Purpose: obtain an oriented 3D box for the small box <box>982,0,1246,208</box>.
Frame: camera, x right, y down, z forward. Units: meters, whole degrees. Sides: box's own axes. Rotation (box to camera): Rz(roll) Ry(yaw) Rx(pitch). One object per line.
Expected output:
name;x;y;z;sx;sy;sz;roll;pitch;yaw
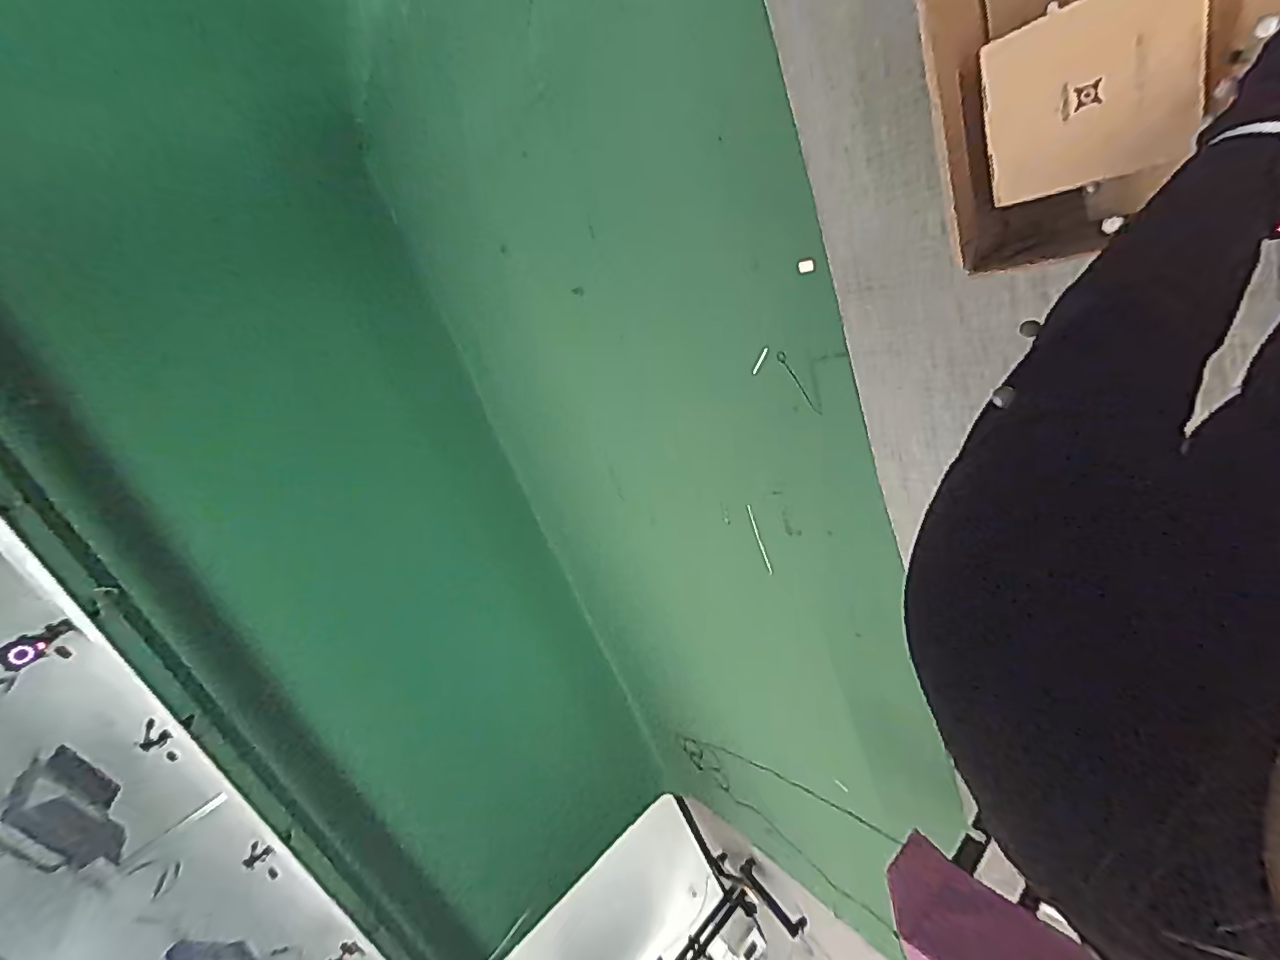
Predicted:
small box;0.503;-0.418;0.581;0.179;0.176;0.168;10;128;52
